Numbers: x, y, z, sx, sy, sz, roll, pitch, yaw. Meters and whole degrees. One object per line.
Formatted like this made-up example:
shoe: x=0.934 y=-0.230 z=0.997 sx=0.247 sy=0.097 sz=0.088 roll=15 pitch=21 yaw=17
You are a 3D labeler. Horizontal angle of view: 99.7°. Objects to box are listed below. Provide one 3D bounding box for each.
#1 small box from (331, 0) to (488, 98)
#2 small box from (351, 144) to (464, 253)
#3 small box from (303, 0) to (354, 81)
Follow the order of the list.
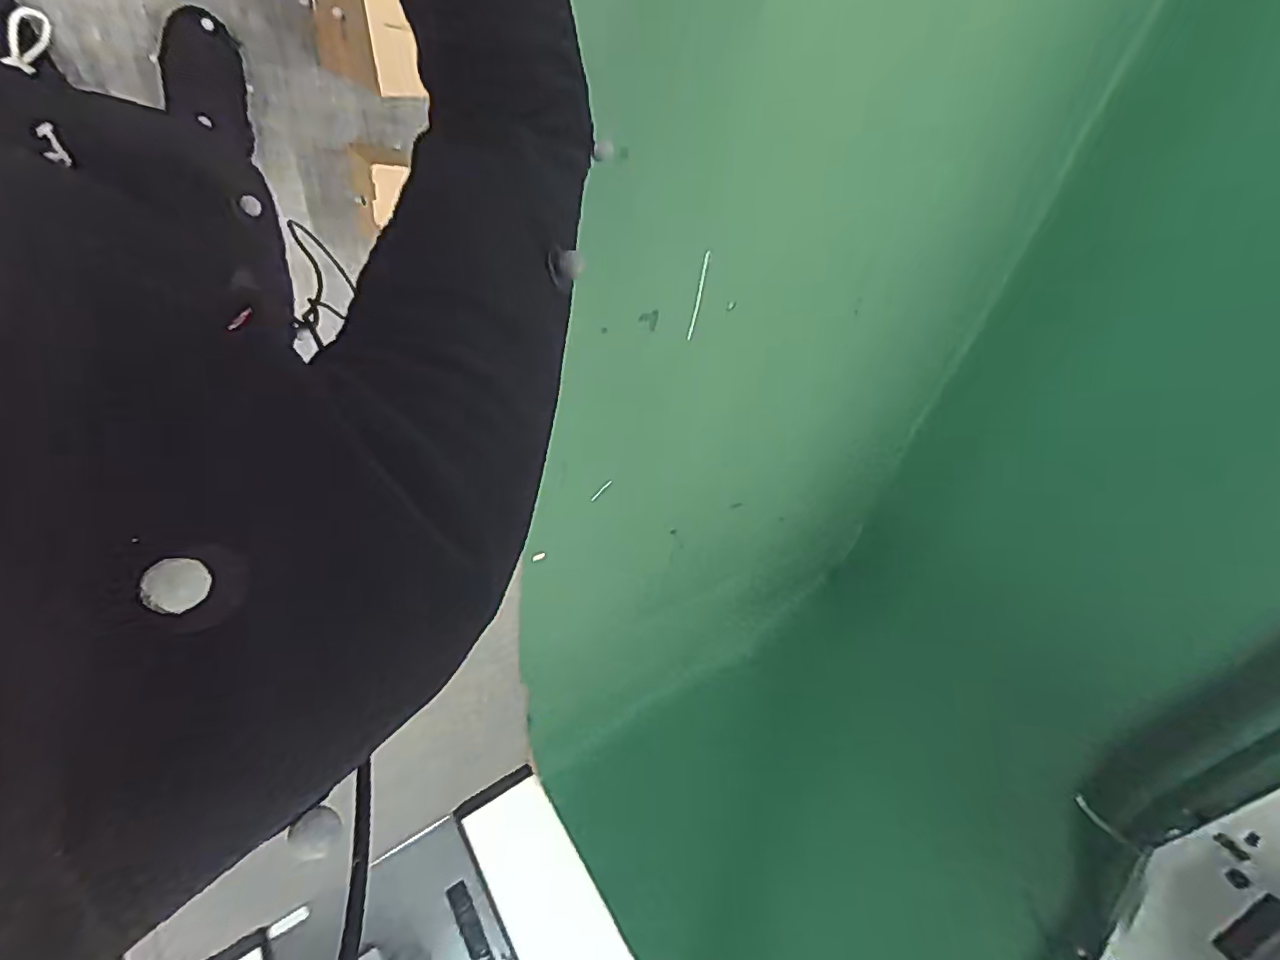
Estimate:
small box: x=-0.356 y=-0.701 z=0.831 sx=0.179 sy=0.176 sz=0.168 roll=-22 pitch=137 yaw=-29
small box: x=-0.478 y=-0.578 z=1.113 sx=0.179 sy=0.176 sz=0.168 roll=-17 pitch=137 yaw=-32
small box: x=-0.458 y=-0.790 z=0.924 sx=0.179 sy=0.176 sz=0.168 roll=-22 pitch=137 yaw=-29
